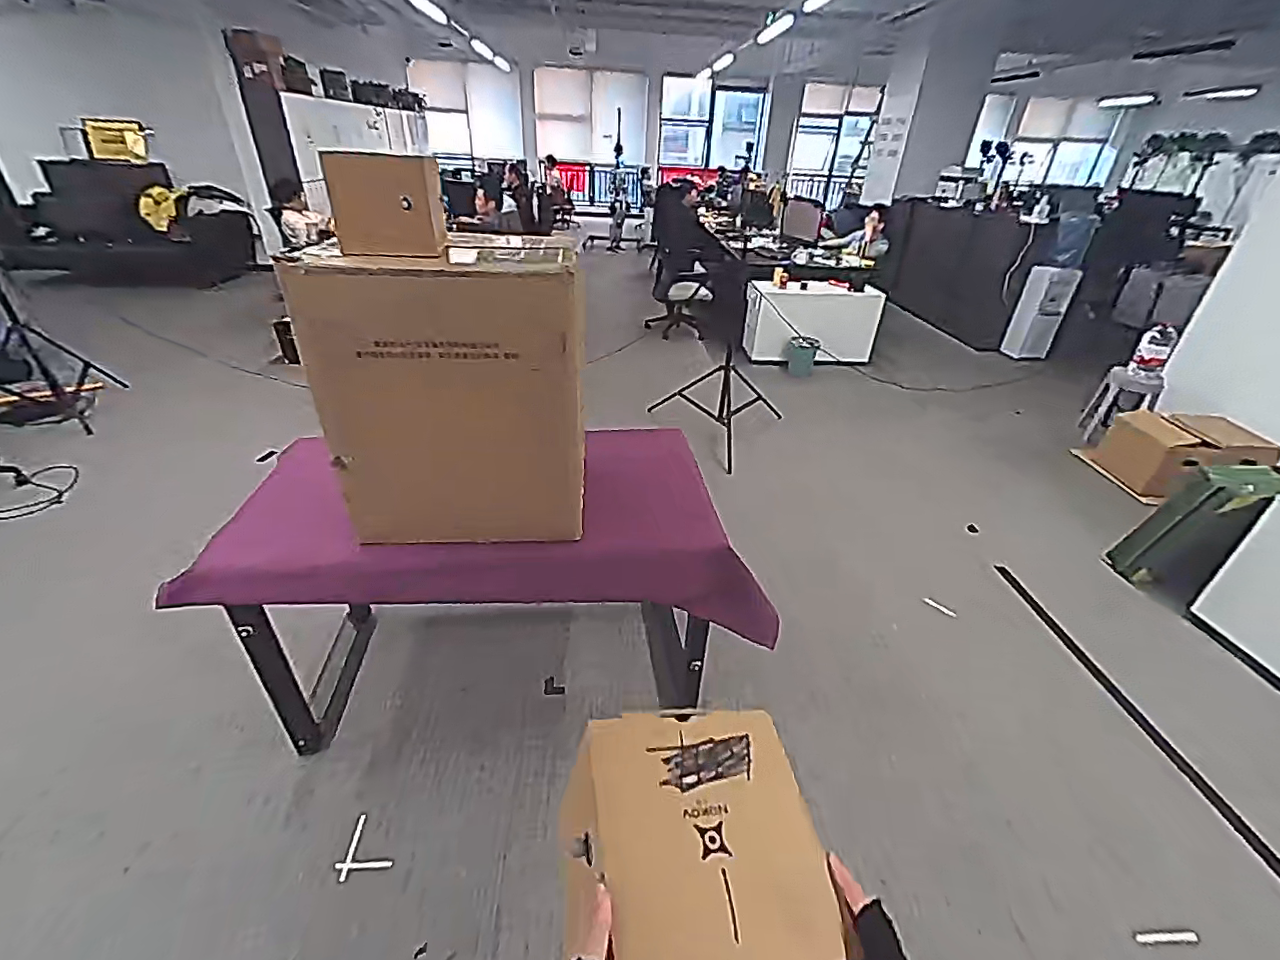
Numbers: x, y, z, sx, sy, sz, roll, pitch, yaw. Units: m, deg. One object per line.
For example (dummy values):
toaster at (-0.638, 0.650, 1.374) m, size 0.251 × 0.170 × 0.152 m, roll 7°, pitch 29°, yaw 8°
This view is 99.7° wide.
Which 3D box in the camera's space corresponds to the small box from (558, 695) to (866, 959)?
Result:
small box at (0.032, 0.297, 0.427) m, size 0.168 × 0.176 × 0.179 m, roll 4°, pitch 36°, yaw -17°

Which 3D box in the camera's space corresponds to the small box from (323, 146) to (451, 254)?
small box at (-0.468, -0.536, 1.035) m, size 0.179 × 0.176 × 0.168 m, roll -4°, pitch 32°, yaw -10°
